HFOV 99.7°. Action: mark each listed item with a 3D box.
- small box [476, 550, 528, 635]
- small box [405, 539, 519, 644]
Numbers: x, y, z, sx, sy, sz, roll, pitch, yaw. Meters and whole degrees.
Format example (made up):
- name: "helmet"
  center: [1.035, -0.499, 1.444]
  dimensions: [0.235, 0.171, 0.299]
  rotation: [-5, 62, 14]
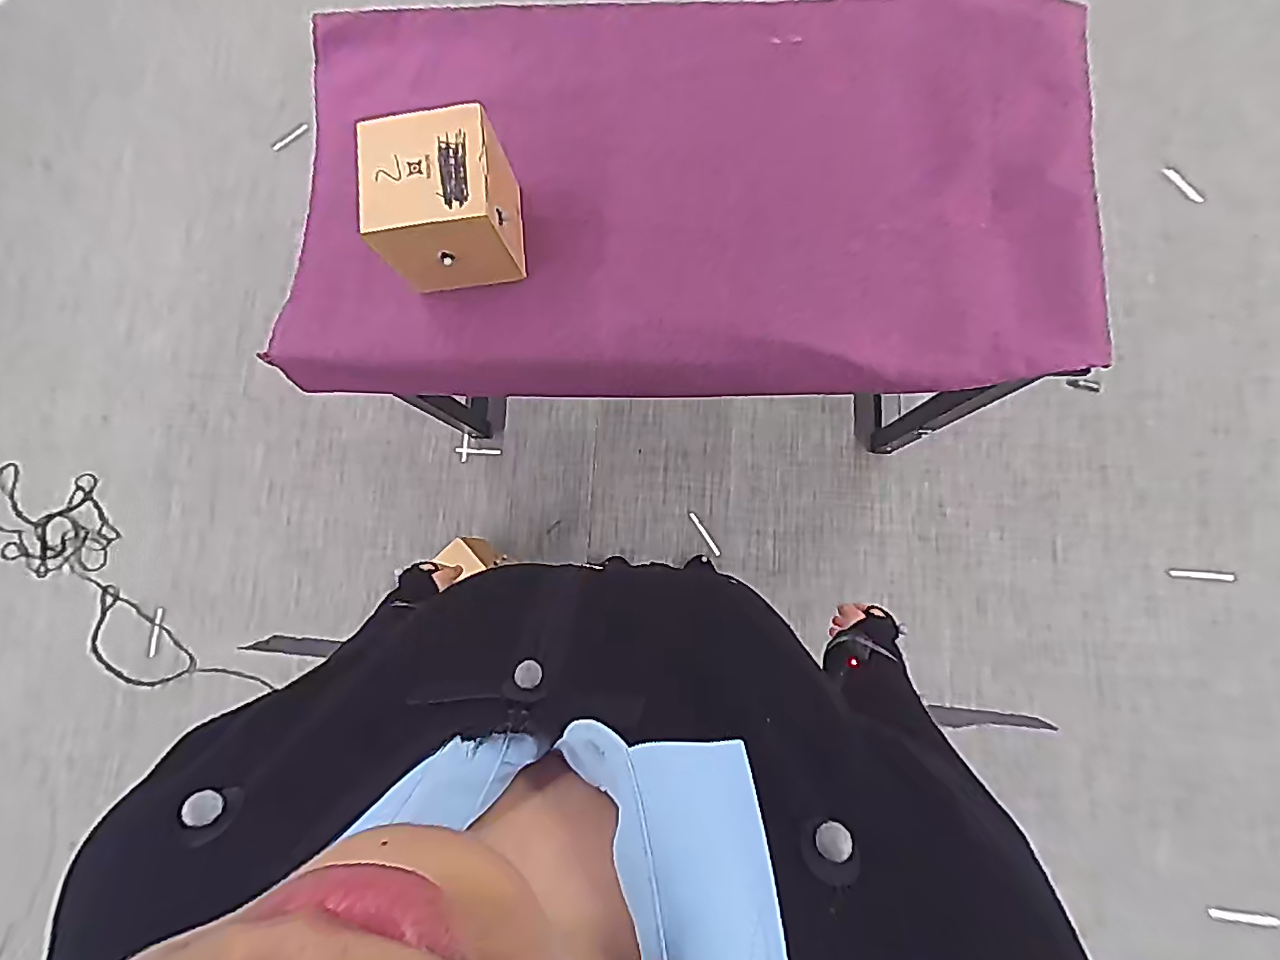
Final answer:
- name: "small box"
  center: [-0.421, 0.290, 1.448]
  dimensions: [0.168, 0.176, 0.179]
  rotation: [25, 84, 7]
- name: "small box"
  center: [-0.409, 0.259, 1.285]
  dimensions: [0.179, 0.176, 0.168]
  rotation: [-42, 81, -3]
